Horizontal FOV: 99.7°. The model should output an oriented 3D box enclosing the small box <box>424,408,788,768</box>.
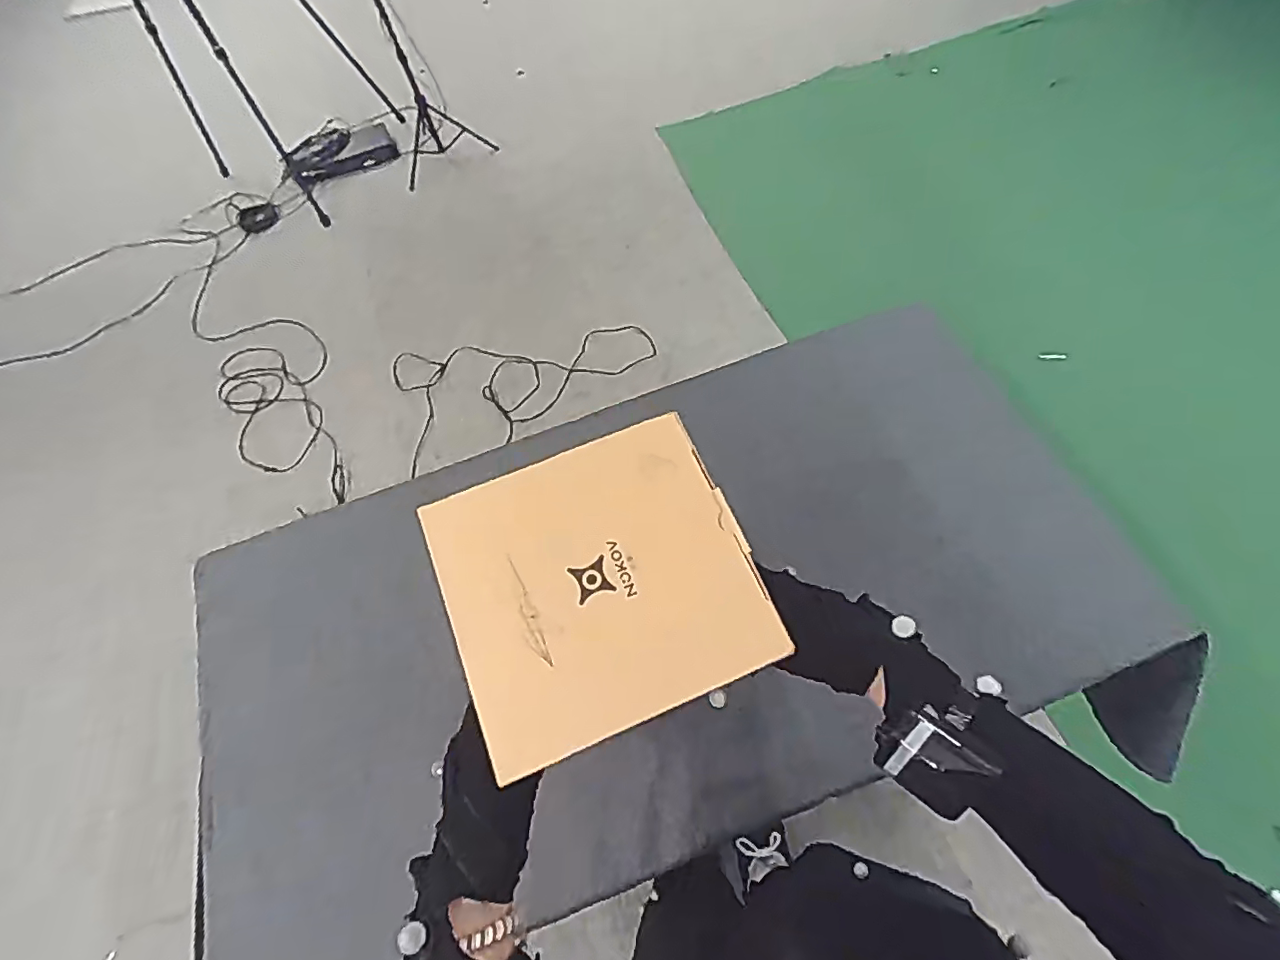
[{"bbox_3d":[-0.025,0.079,0.392,0.179,0.176,0.168,-21,70,-7],"label":"small box"}]
